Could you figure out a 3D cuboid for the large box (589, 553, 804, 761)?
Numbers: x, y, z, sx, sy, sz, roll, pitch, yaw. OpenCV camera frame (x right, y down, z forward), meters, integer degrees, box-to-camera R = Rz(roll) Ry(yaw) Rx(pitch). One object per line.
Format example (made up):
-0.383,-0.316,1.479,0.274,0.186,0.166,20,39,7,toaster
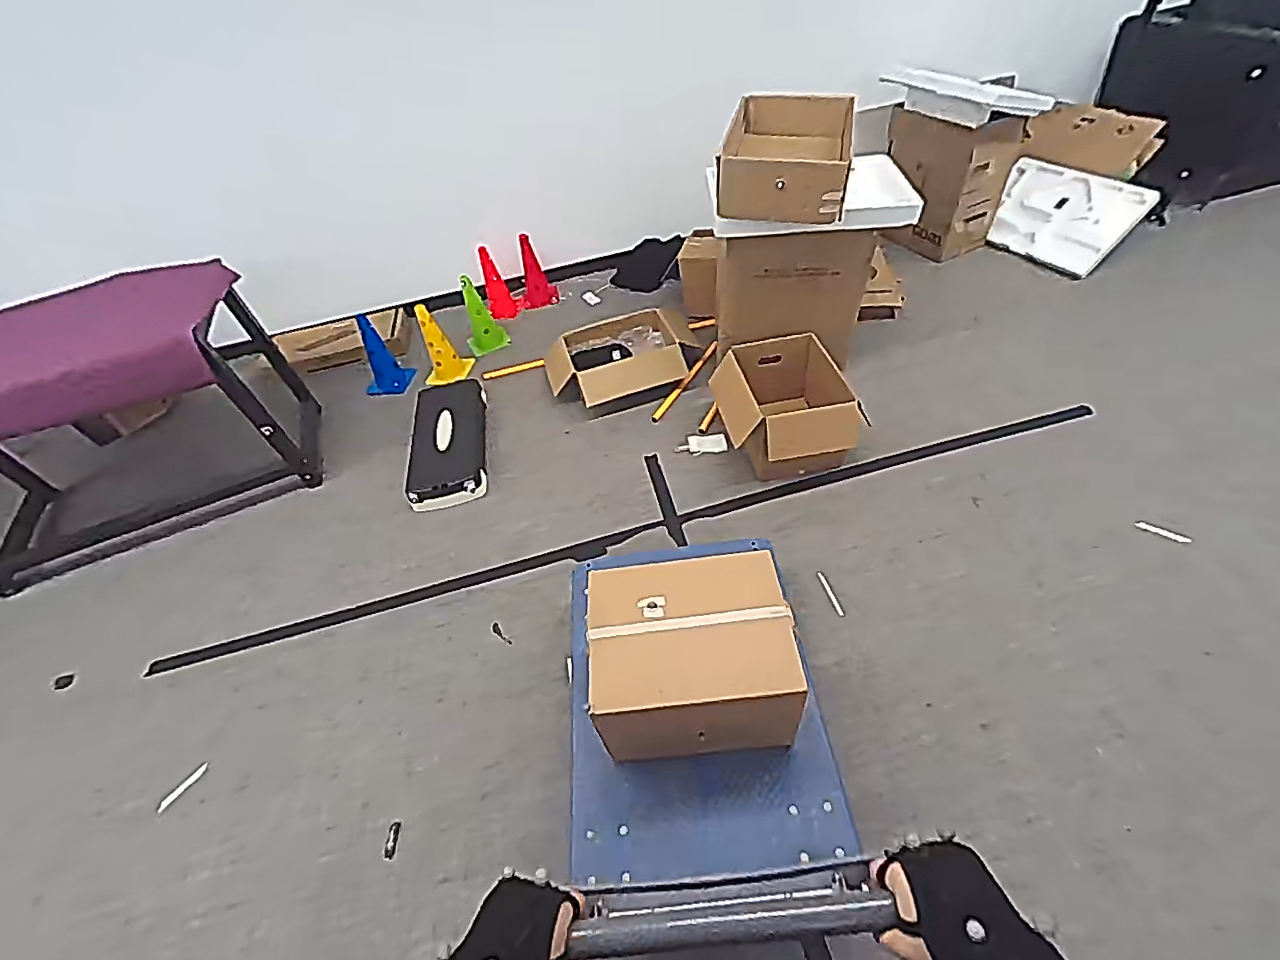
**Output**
0.116,0.401,1.208,0.408,0.320,0.320,-9,46,3,large box
